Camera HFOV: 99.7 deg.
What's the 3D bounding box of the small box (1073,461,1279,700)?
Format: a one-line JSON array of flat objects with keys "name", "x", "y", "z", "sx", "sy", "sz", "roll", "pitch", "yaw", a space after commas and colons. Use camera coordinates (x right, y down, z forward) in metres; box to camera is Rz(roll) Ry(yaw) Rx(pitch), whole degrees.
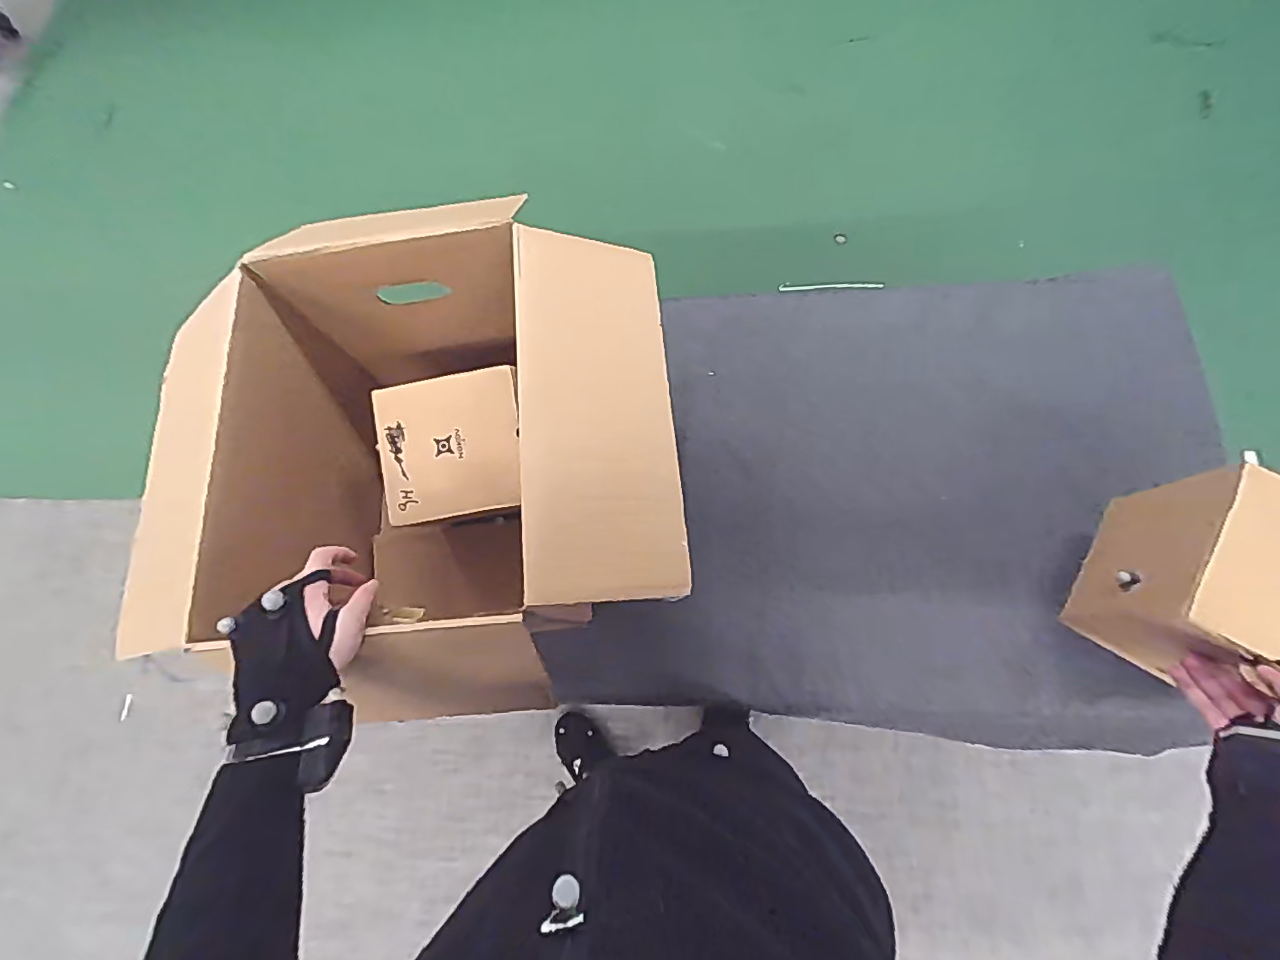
[{"name": "small box", "x": 0.610, "y": 0.113, "z": 0.565, "sx": 0.168, "sy": 0.176, "sz": 0.179, "roll": 31, "pitch": 78, "yaw": 10}]
